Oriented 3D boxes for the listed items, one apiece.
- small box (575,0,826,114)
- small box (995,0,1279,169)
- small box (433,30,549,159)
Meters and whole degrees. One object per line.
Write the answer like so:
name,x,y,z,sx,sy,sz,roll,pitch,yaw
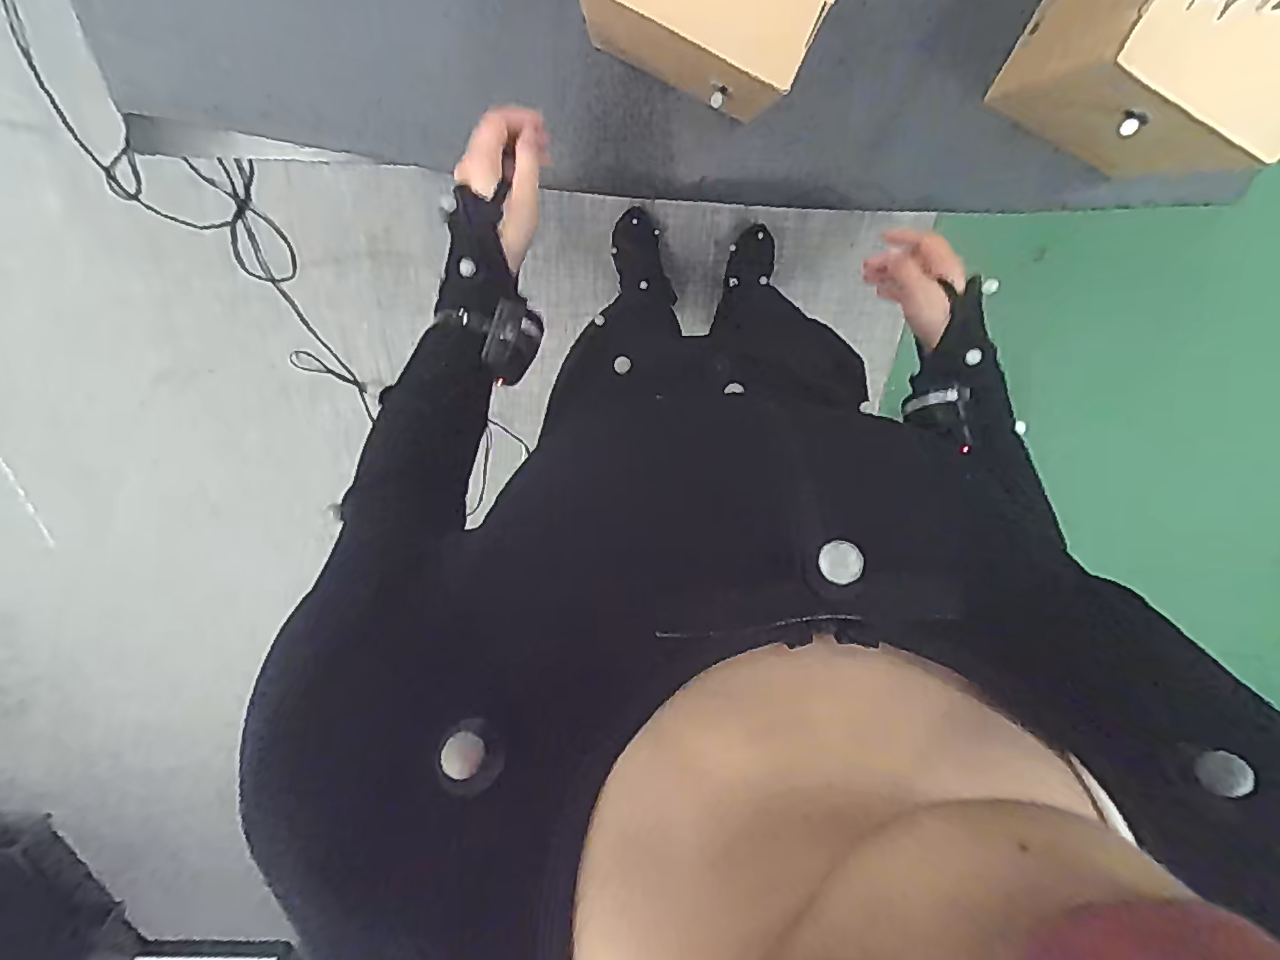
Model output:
small box,0.061,-0.425,0.436,0.179,0.176,0.168,20,115,-9
small box,0.454,-0.382,0.453,0.179,0.176,0.168,21,115,-10
small box,-0.295,-0.759,1.086,0.179,0.176,0.168,13,119,-6
